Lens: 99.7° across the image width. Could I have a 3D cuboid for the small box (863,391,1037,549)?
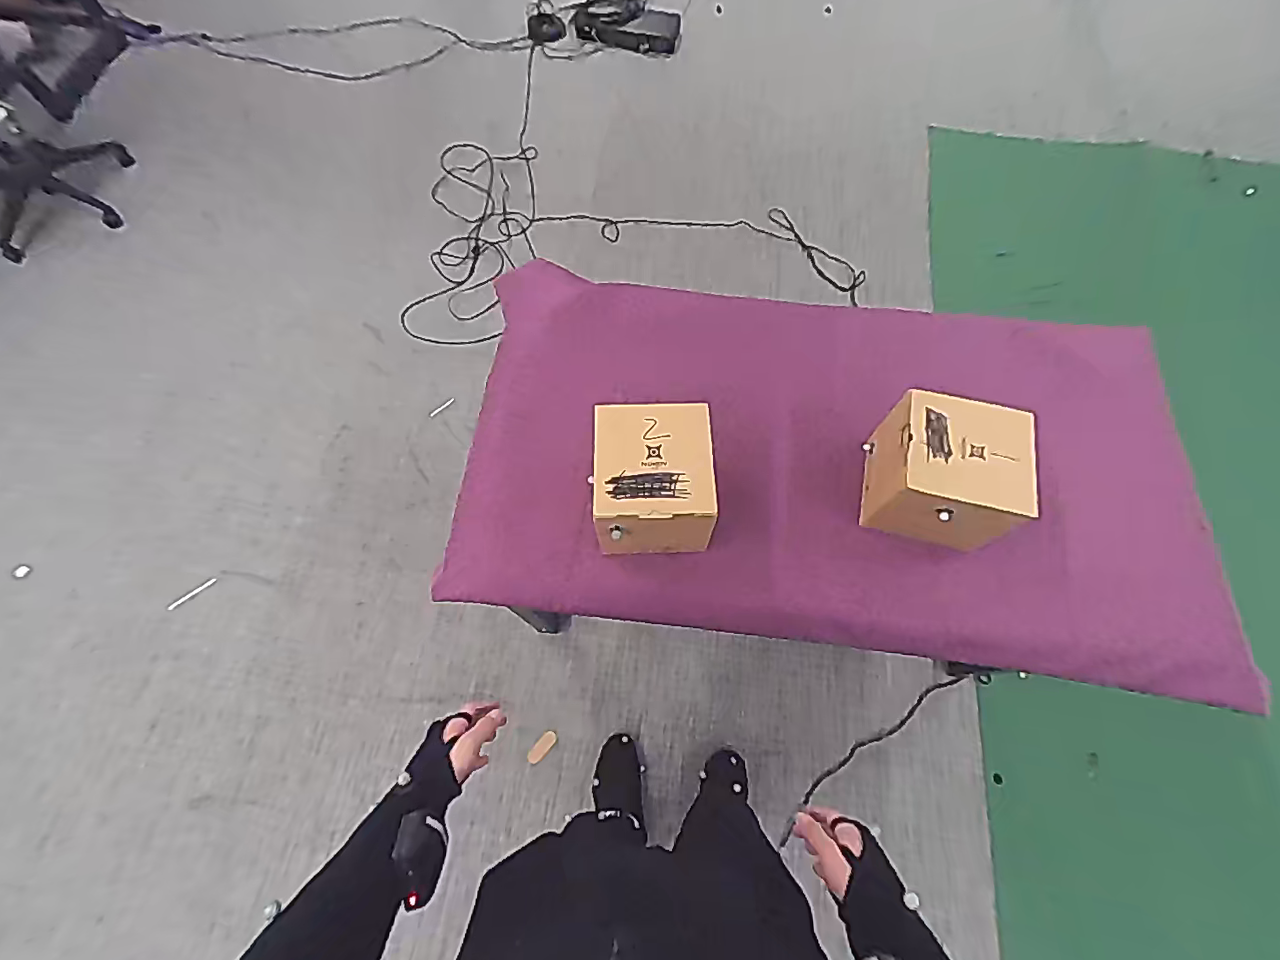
[{"bbox_3d":[0.458,-0.008,0.821,0.179,0.176,0.168,13,68,5],"label":"small box"}]
